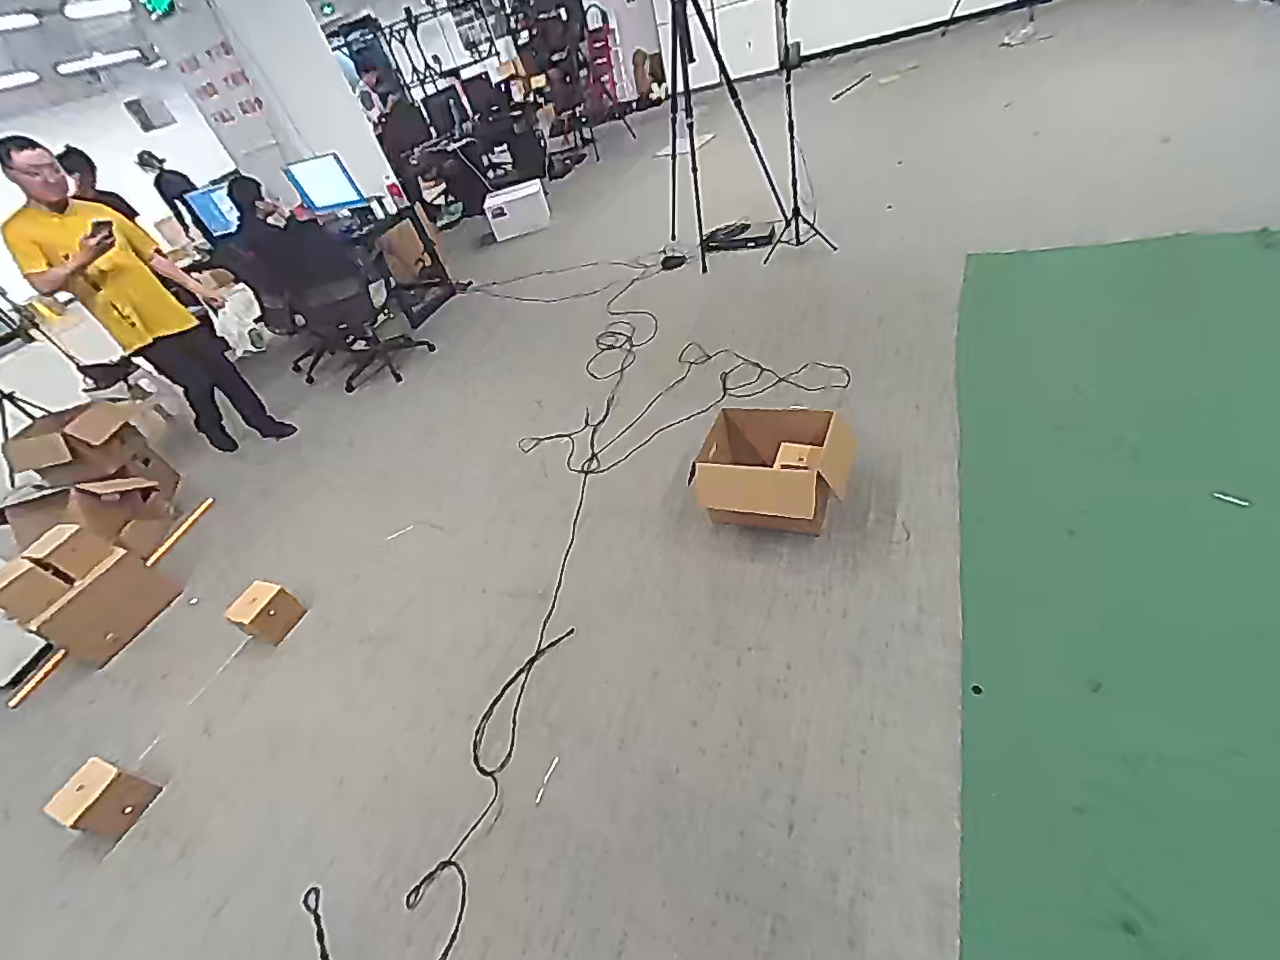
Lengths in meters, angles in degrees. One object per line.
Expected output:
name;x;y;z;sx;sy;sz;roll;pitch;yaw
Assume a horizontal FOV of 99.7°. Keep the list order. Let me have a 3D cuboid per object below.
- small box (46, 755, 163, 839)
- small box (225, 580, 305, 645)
small box;-1.697;1.012;1.722;0.179;0.176;0.168;4;47;24
small box;-1.481;0.527;2.155;0.168;0.176;0.179;5;47;24
